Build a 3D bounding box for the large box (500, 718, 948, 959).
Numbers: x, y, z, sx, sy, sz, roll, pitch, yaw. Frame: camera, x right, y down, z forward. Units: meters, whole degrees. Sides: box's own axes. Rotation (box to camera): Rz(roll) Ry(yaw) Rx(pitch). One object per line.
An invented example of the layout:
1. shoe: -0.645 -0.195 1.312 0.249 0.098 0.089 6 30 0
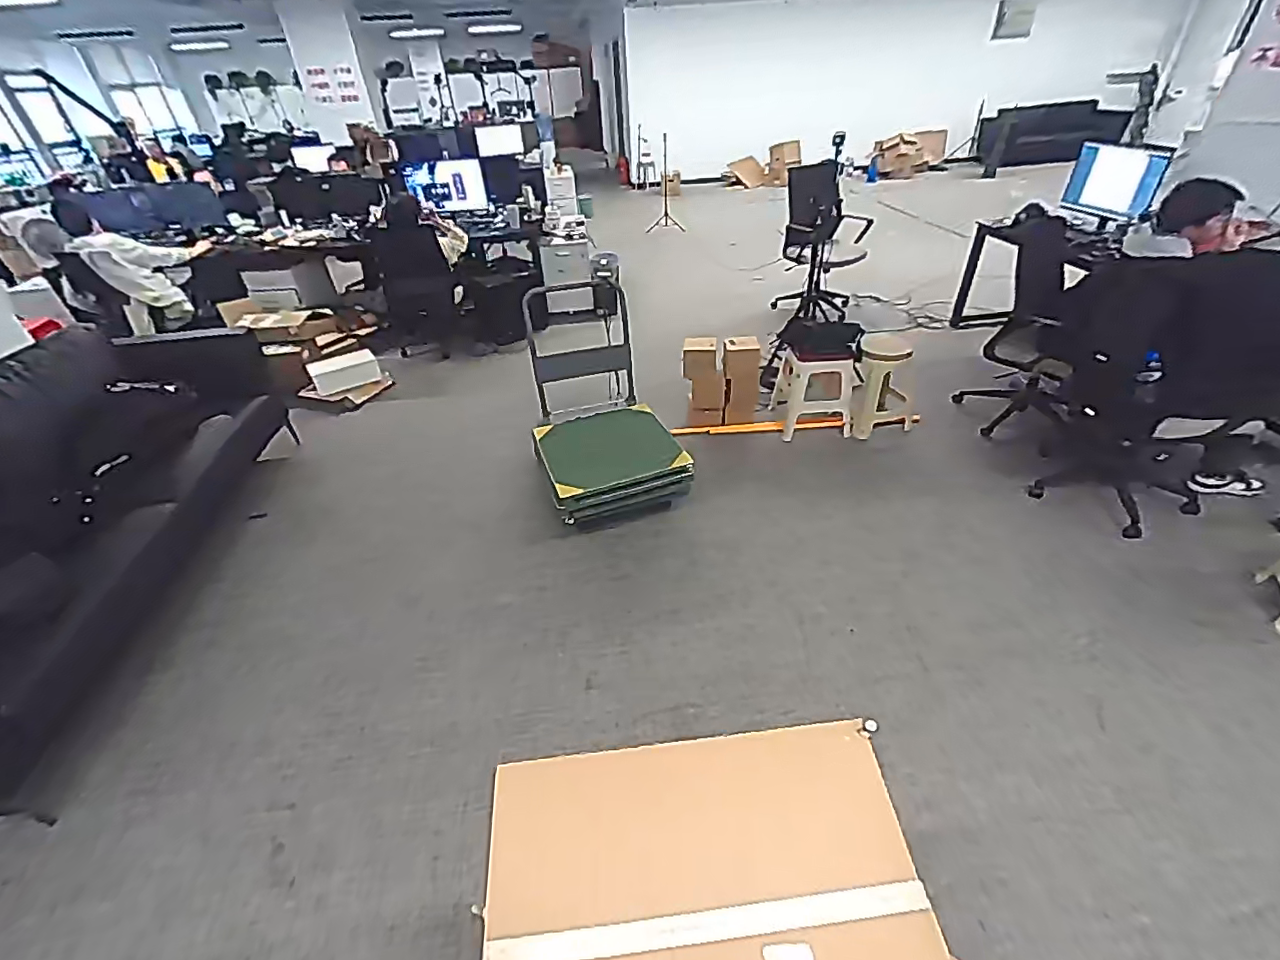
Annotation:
1. large box: 0.073 0.505 0.611 0.408 0.320 0.320 -7 50 -3
